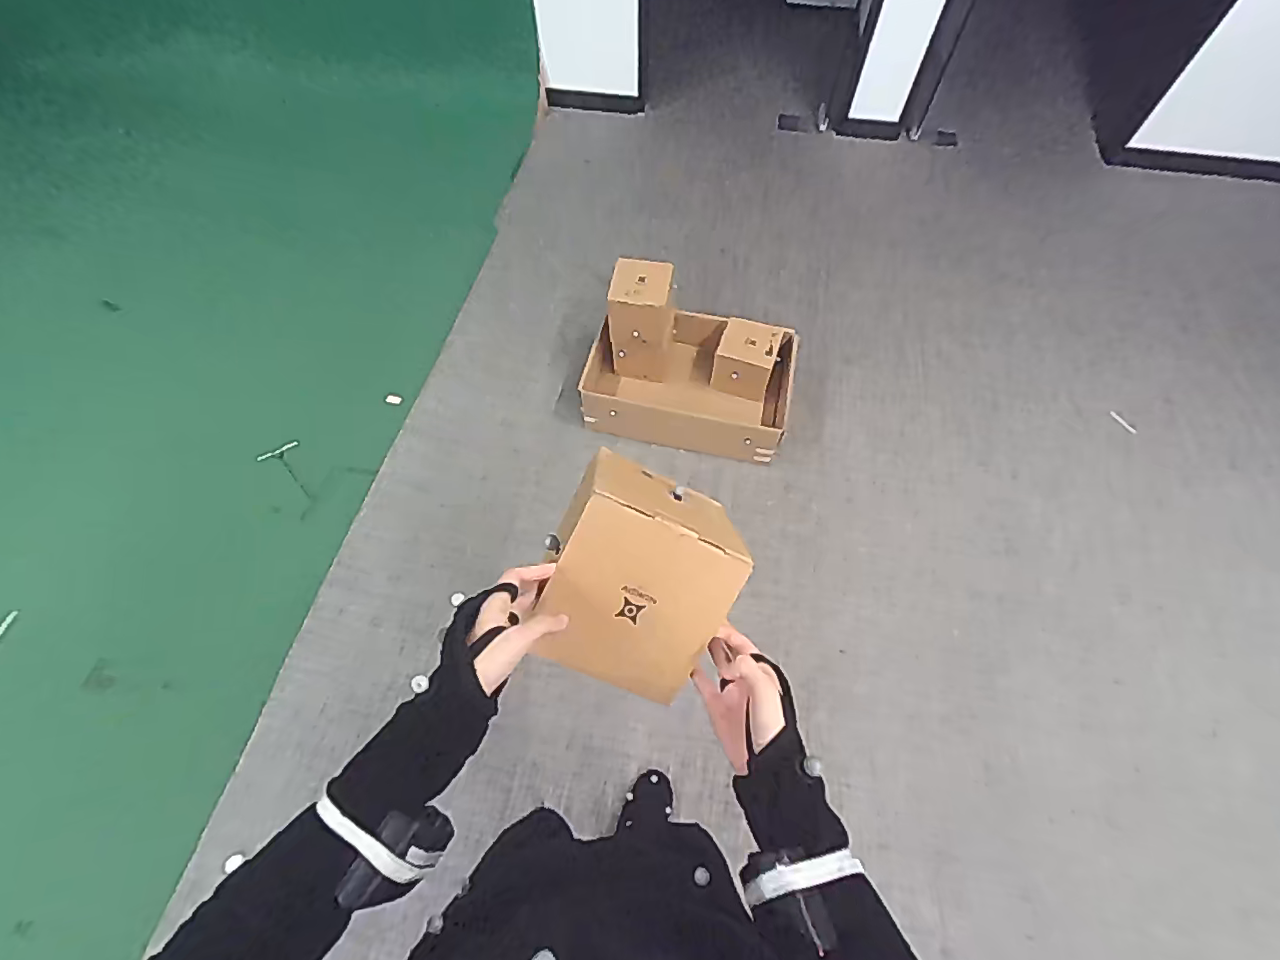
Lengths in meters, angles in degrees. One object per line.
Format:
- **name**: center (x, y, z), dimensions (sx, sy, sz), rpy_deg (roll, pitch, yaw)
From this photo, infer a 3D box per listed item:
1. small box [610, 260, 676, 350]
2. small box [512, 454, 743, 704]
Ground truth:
- **small box**: center (0.011, -0.515, 1.598), dimensions (0.168, 0.176, 0.179), rpy_deg (9, 63, 6)
- **small box**: center (-0.014, 0.094, 0.583), dimensions (0.168, 0.176, 0.179), rpy_deg (26, 103, -8)
